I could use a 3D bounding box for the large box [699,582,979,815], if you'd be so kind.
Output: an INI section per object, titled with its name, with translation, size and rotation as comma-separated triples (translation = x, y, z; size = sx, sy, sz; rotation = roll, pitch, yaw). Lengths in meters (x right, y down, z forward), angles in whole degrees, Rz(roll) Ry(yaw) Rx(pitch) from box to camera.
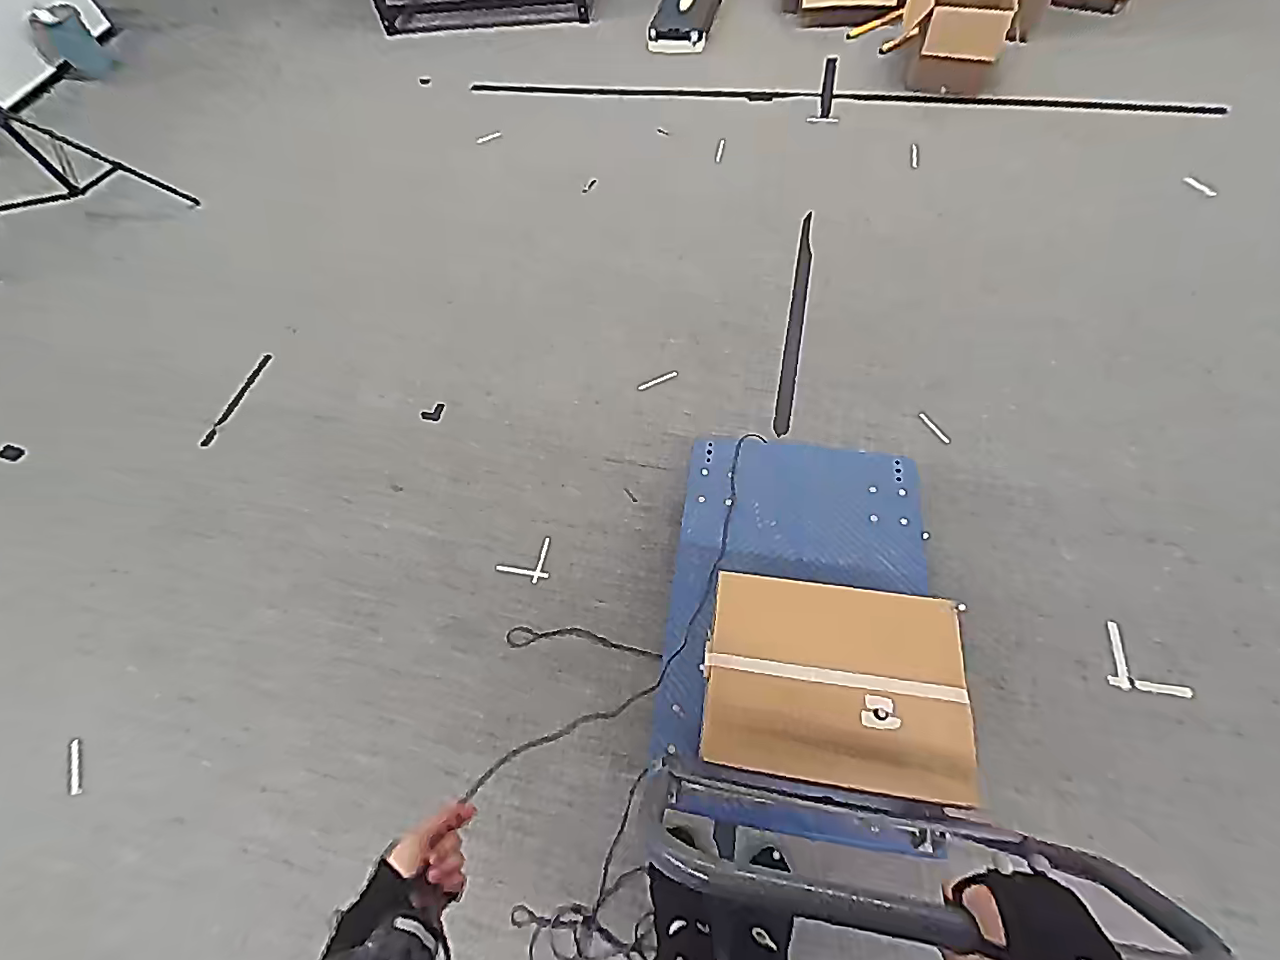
[large box]
translation = 0.324, 0.405, 1.001
size = 0.408, 0.320, 0.320
rotation = 6, 62, 8
